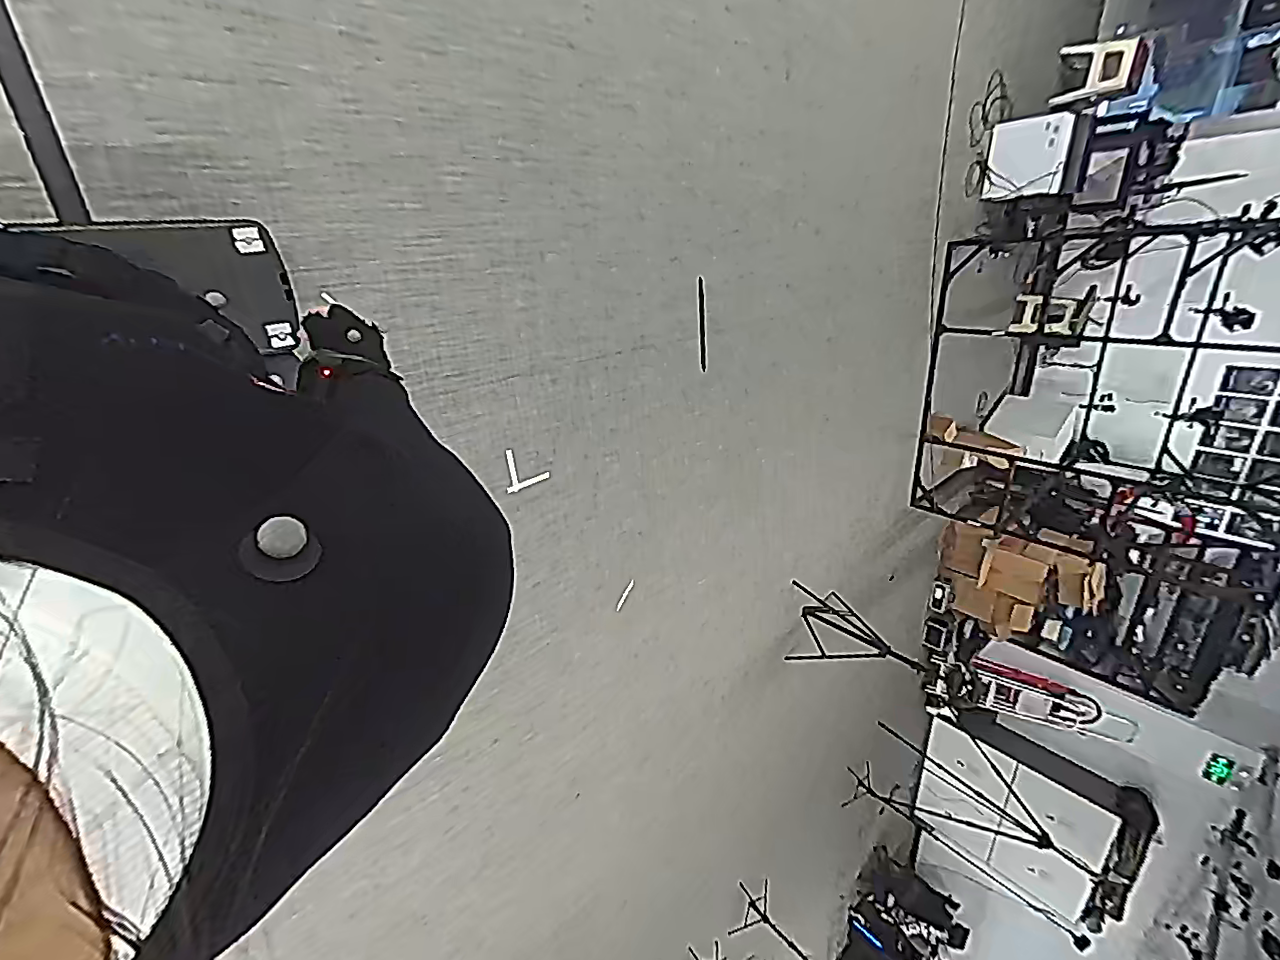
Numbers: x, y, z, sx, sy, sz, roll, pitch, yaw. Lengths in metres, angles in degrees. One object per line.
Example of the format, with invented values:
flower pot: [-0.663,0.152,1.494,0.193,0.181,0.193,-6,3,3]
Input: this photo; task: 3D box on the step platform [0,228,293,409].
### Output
step platform: [-1.093,-0.327,1.065,0.684,0.204,0.286,-24,121,-36]
